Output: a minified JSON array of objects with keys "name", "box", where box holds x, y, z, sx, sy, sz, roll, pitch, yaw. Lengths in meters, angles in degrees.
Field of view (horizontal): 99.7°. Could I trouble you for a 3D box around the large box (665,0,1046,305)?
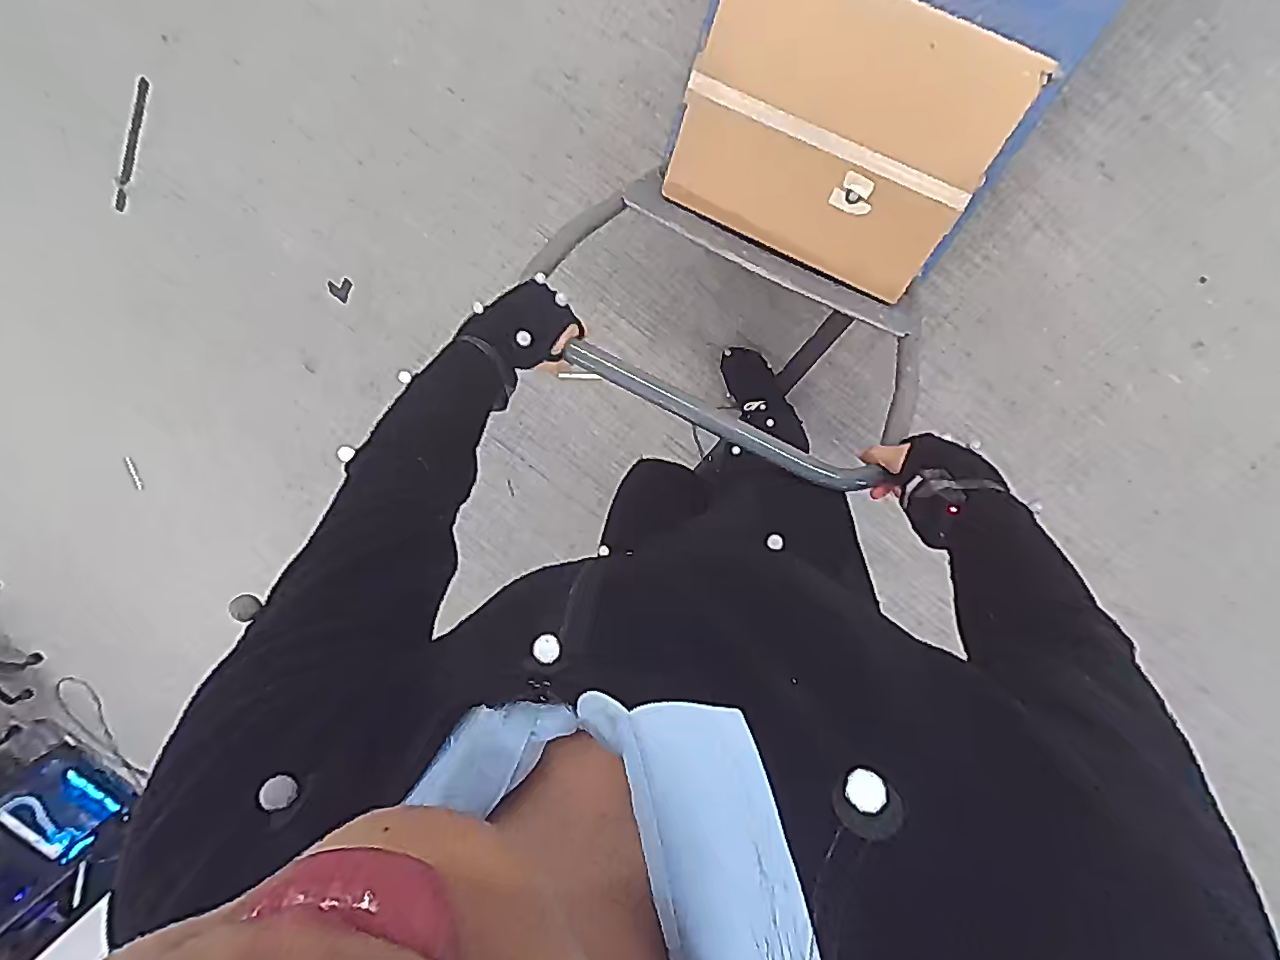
[{"name":"large box","box":[0.306,-0.544,0.859,0.408,0.320,0.320,27,132,3]}]
